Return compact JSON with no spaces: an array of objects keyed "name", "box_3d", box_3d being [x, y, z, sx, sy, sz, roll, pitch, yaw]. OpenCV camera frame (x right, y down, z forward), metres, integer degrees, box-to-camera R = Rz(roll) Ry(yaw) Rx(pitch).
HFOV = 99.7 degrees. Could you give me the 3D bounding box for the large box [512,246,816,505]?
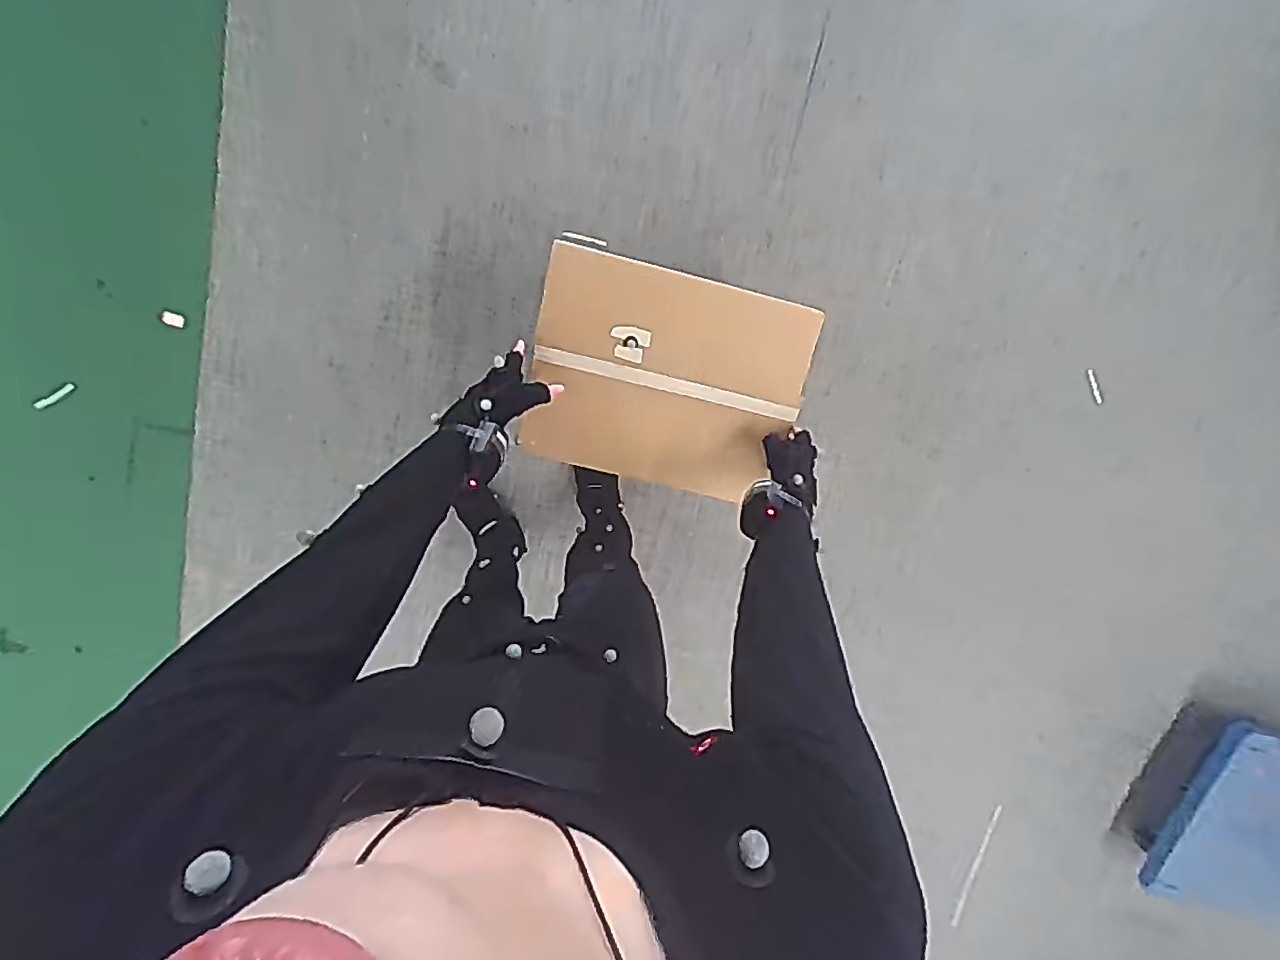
[{"name":"large box","box_3d":[0.030,-0.186,0.948,0.408,0.320,0.320,14,105,-4]}]
